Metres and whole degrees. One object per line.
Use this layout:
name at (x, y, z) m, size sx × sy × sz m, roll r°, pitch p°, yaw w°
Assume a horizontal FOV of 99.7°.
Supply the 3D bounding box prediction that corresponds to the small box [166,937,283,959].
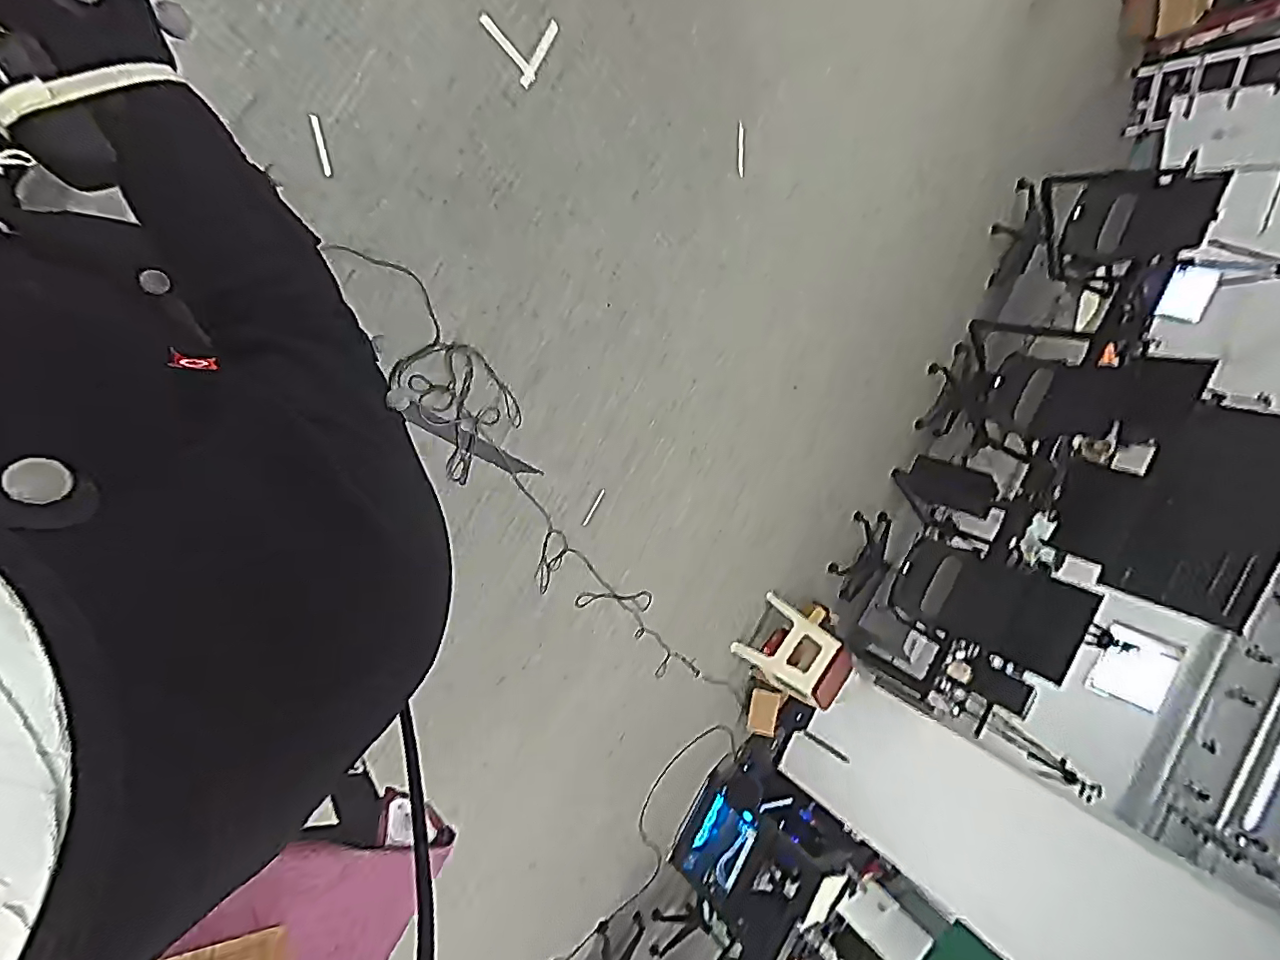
small box at (-0.535, 0.698, 0.641) m, size 0.168 × 0.176 × 0.179 m, roll 23°, pitch 92°, yaw -46°
